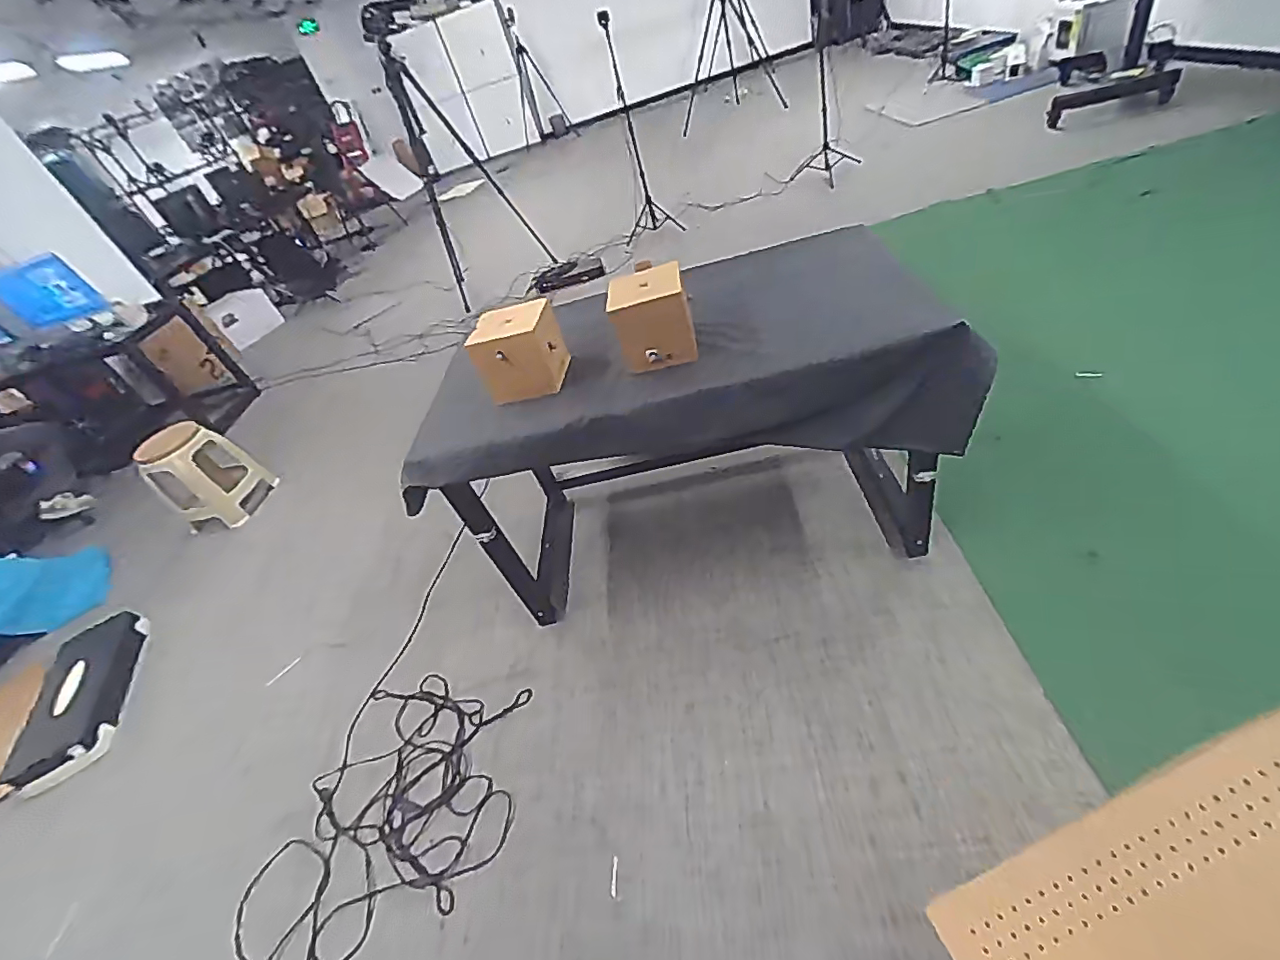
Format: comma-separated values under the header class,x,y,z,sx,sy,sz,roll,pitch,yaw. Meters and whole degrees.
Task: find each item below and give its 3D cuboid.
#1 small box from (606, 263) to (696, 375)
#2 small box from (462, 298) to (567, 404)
class,x,y,z,sx,sy,sz,roll,pitch,yaw
small box,0.028,-0.365,1.234,0.168,0.176,0.179,-13,41,10
small box,-0.288,-0.305,1.293,0.179,0.176,0.168,-9,41,13
